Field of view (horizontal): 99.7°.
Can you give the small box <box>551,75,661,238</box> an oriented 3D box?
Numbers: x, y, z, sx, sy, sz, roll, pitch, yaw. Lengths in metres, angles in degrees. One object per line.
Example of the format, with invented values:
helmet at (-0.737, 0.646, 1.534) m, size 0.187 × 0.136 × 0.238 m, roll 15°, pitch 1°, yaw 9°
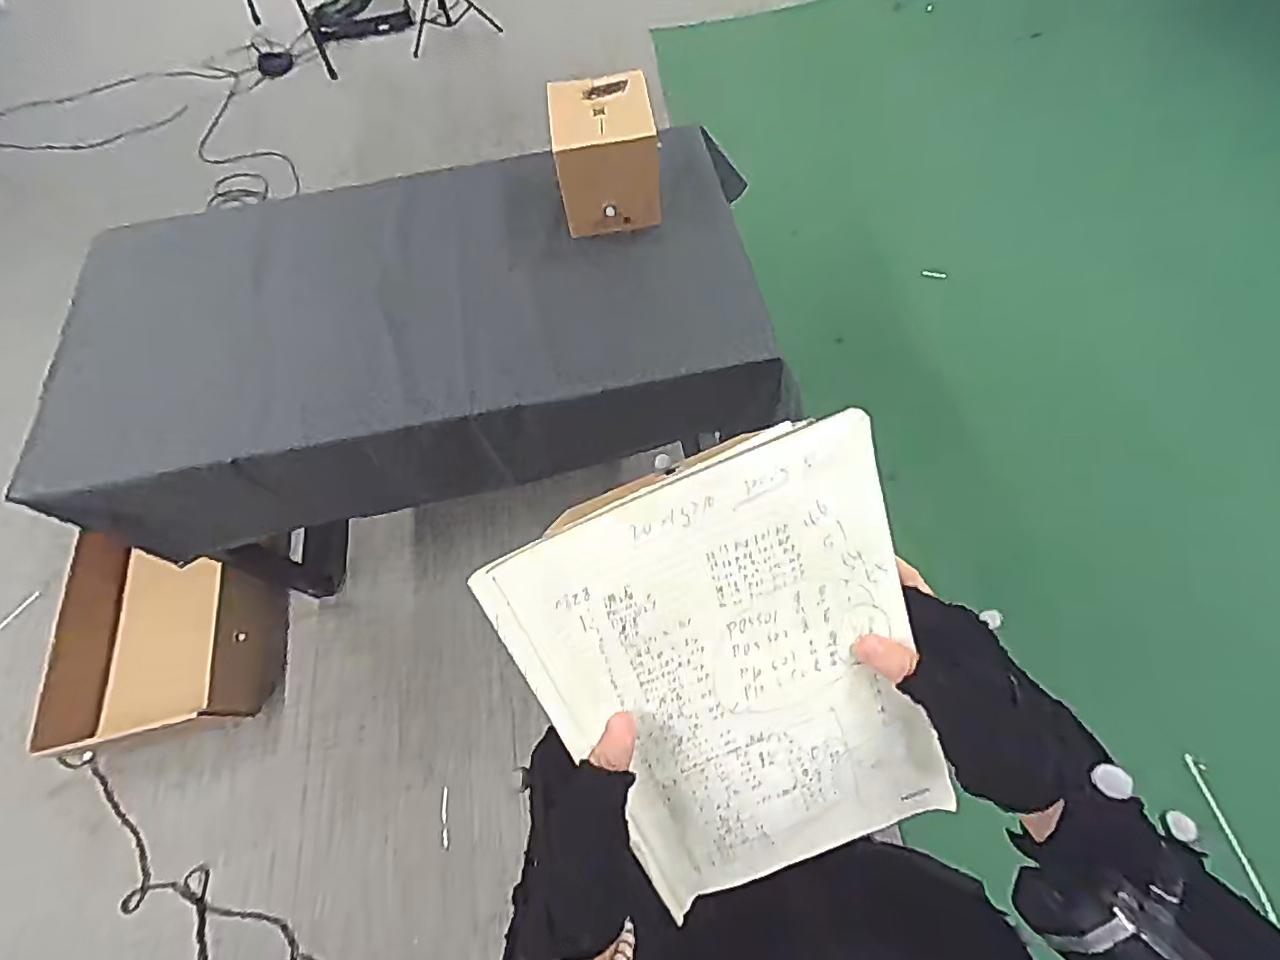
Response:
small box at (-0.056, -0.557, 0.943) m, size 0.168 × 0.176 × 0.179 m, roll -8°, pitch 65°, yaw 1°
